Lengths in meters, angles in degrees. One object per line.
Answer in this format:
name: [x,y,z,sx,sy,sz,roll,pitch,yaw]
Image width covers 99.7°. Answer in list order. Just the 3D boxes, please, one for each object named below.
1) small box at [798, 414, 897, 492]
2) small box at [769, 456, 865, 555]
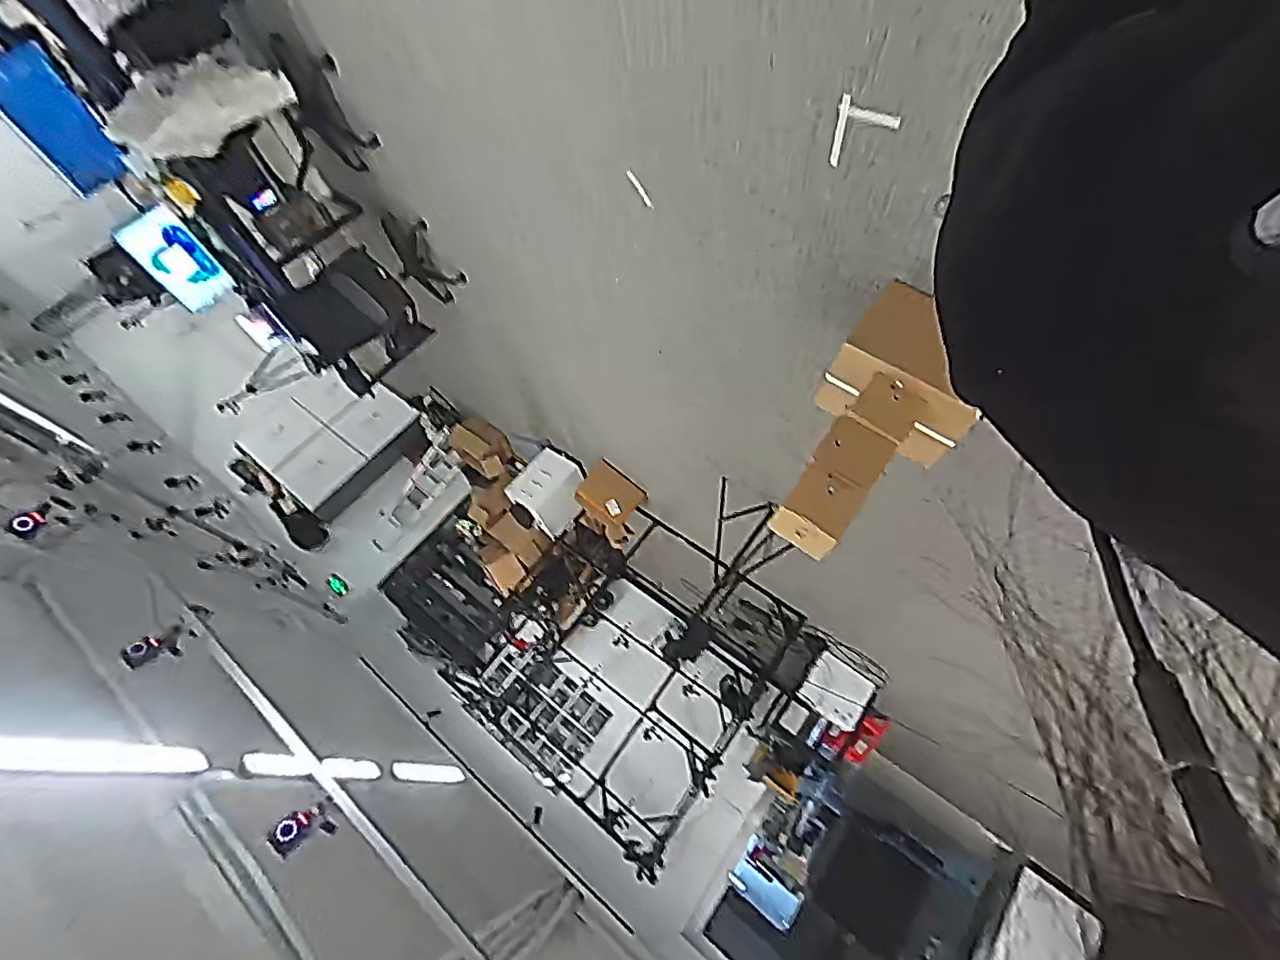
small box: [0.570,-0.058,1.494,0.179,0.176,0.168,33,160,16]
small box: [0.473,0.069,1.451,0.168,0.176,0.179,34,160,15]
